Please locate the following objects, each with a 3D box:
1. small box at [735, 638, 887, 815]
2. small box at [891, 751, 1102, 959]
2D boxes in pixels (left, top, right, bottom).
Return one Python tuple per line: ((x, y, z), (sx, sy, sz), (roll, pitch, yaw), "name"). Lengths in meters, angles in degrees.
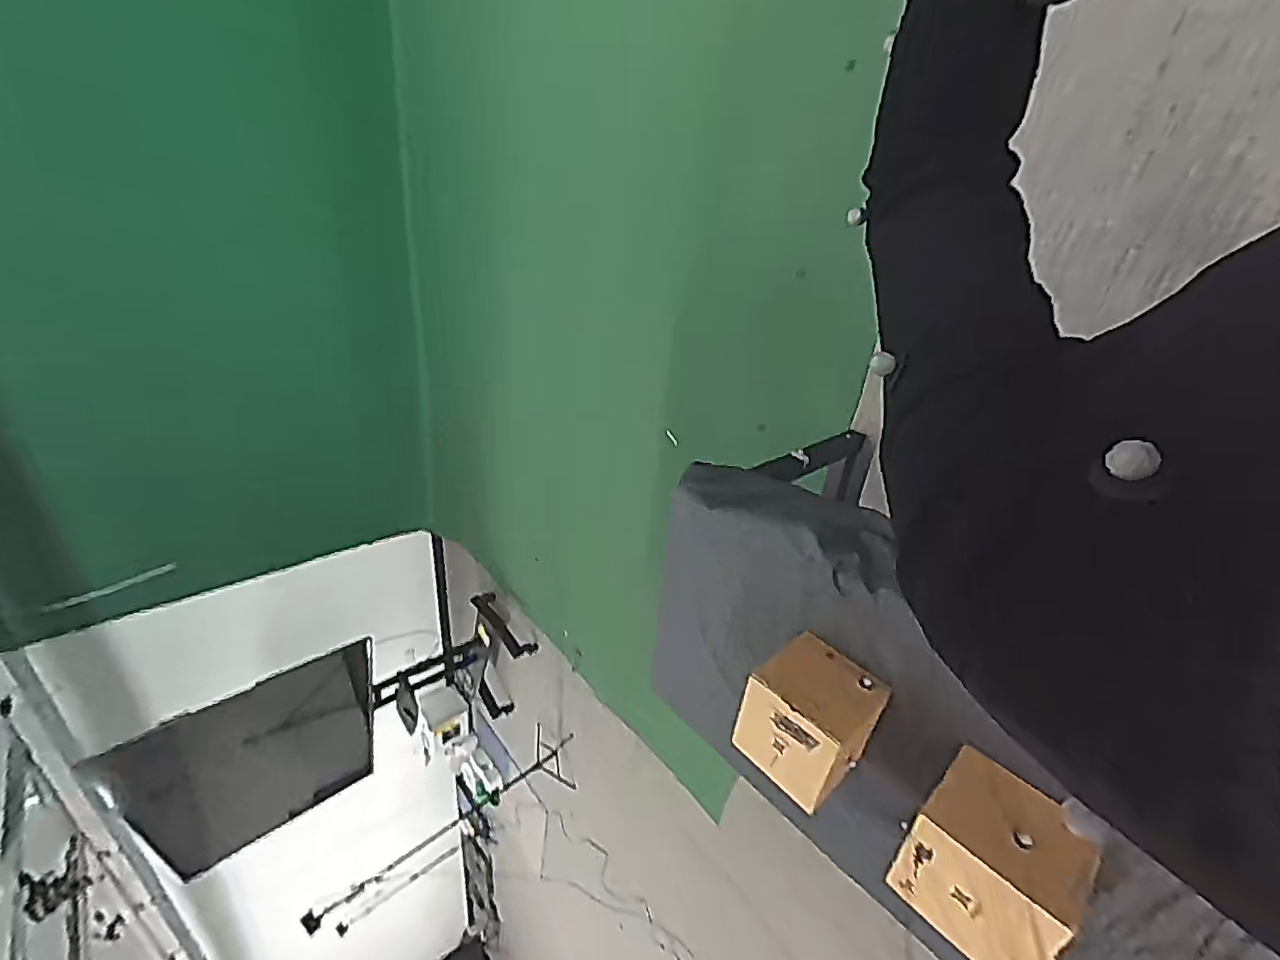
((0.288, 0.401, 0.911), (0.168, 0.176, 0.179), (32, 127, 38), "small box")
((0.481, 0.516, 0.734), (0.179, 0.176, 0.168), (29, 124, 39), "small box")
